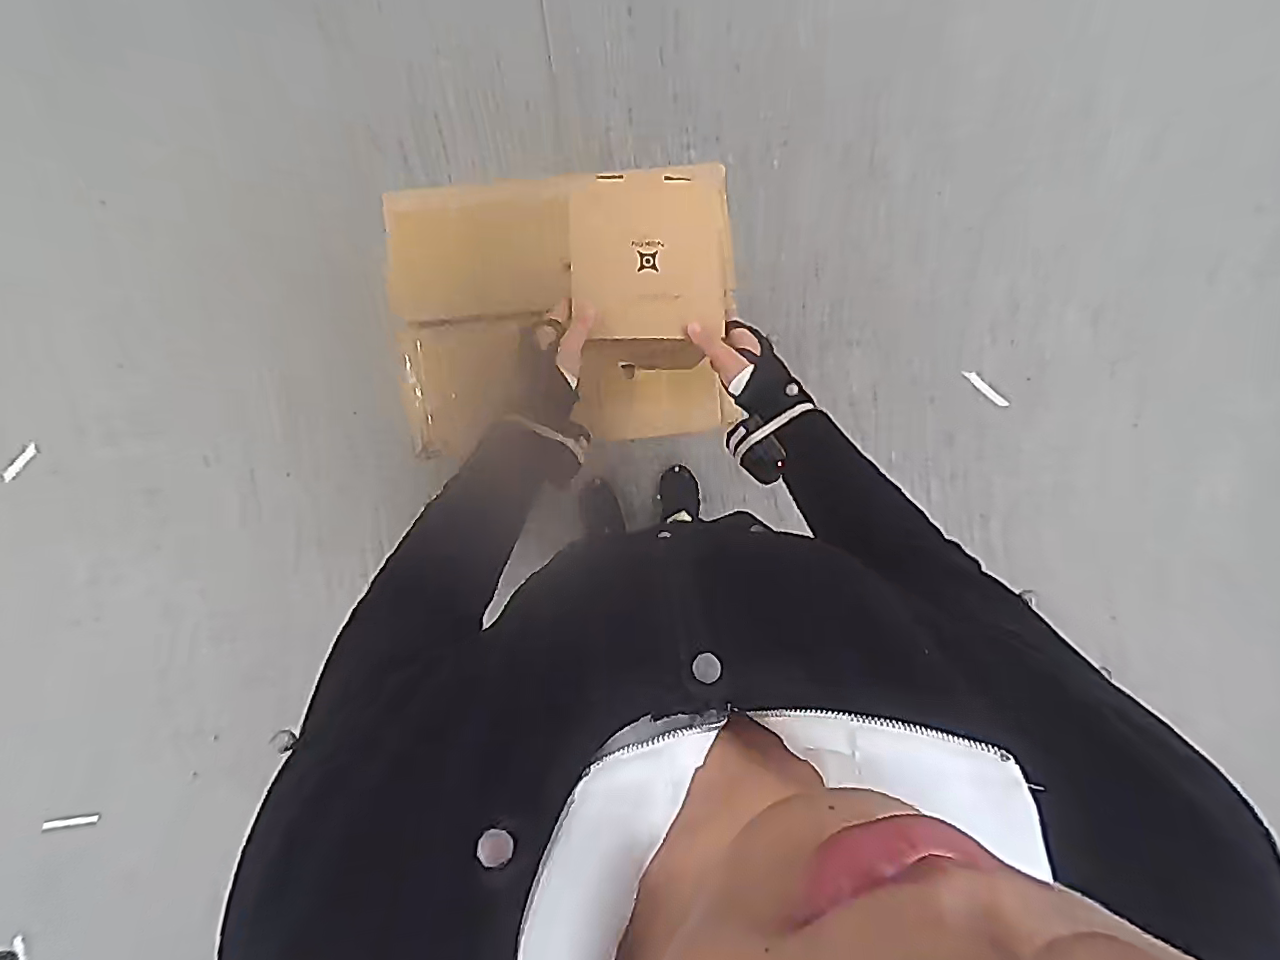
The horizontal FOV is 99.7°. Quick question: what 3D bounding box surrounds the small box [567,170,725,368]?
[{"bbox_3d":[-0.001,-0.240,0.649,0.168,0.176,0.179,-3,91,-5],"label":"small box"}]
